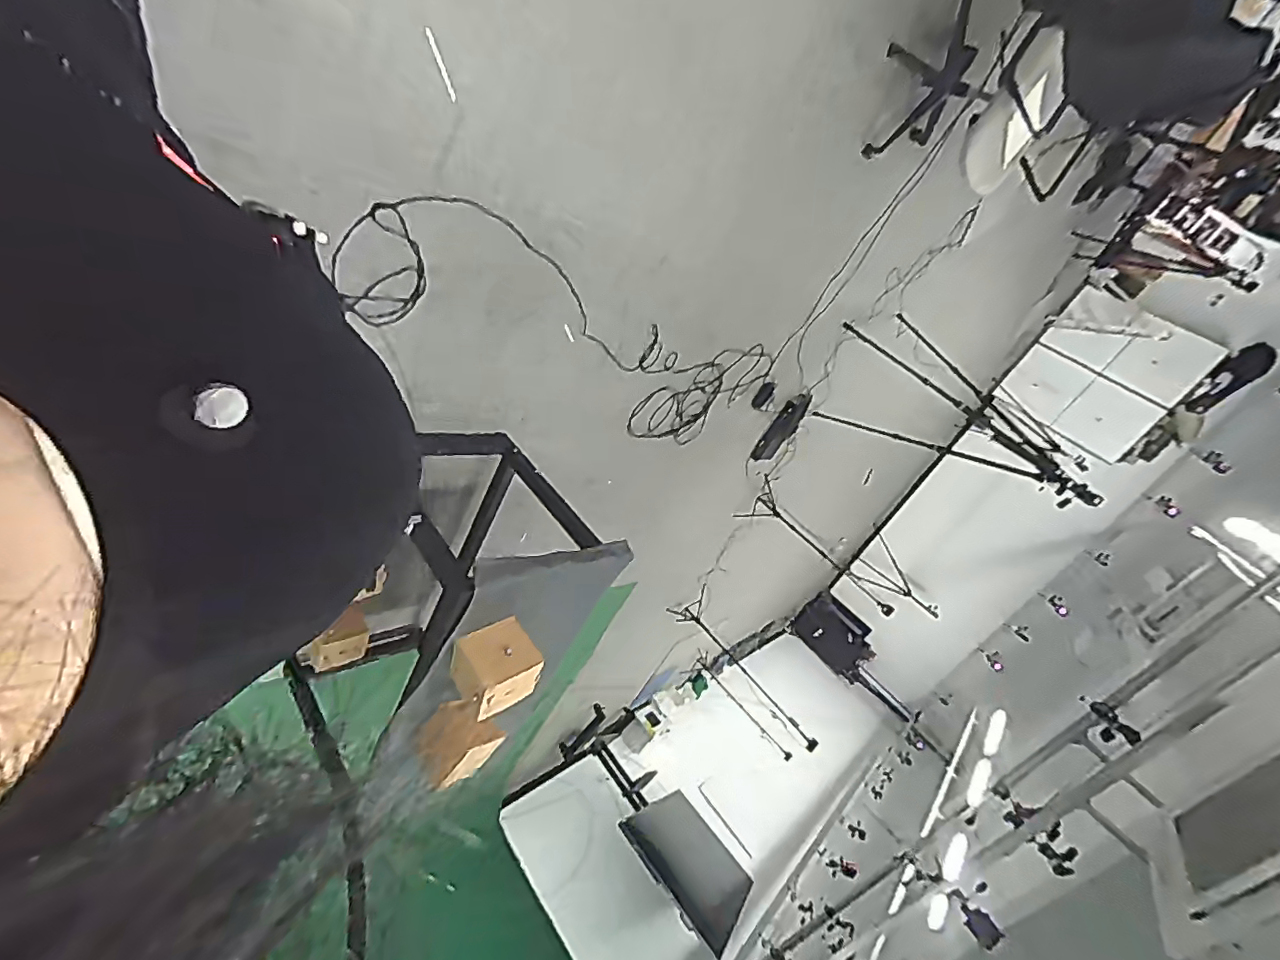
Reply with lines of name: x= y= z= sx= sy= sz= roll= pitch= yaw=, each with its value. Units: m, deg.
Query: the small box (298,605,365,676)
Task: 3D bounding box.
small box: x=-1.194 y=0.613 z=2.083 sx=0.179 sy=0.176 sz=0.168 roll=-9 pitch=135 yaw=-48

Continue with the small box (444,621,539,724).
small box: x=-0.408 y=0.516 z=1.474 sx=0.179 sy=0.176 sz=0.168 roll=-16 pitch=140 yaw=-42

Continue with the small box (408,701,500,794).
small box: x=-0.564 y=0.790 z=1.620 sx=0.179 sy=0.176 sz=0.168 roll=-51 pitch=154 yaw=6
